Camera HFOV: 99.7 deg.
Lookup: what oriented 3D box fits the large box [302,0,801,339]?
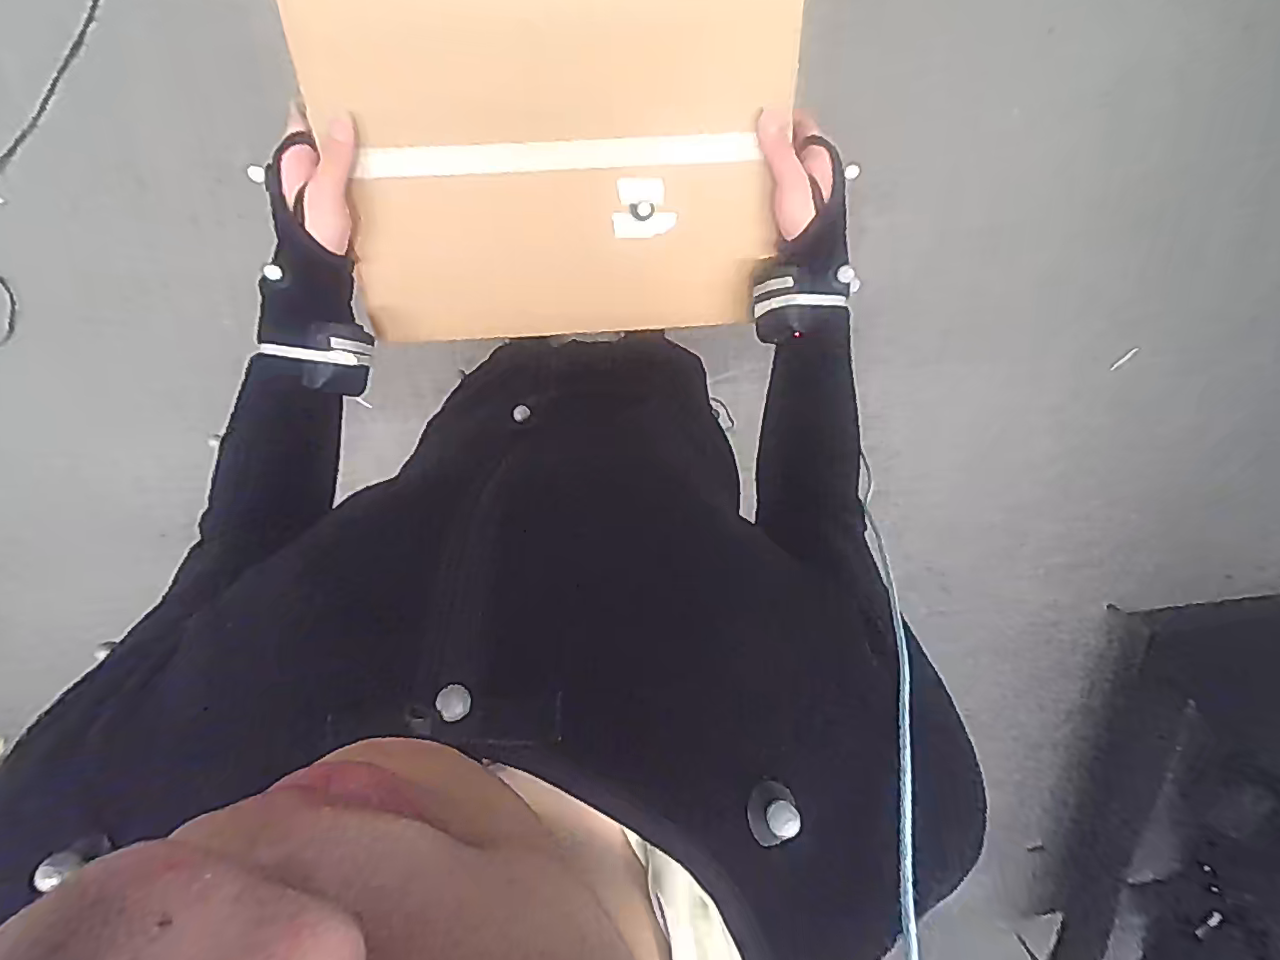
[{"bbox_3d":[-0.076,-0.364,0.612,0.408,0.320,0.320,-5,120,-4],"label":"large box"}]
